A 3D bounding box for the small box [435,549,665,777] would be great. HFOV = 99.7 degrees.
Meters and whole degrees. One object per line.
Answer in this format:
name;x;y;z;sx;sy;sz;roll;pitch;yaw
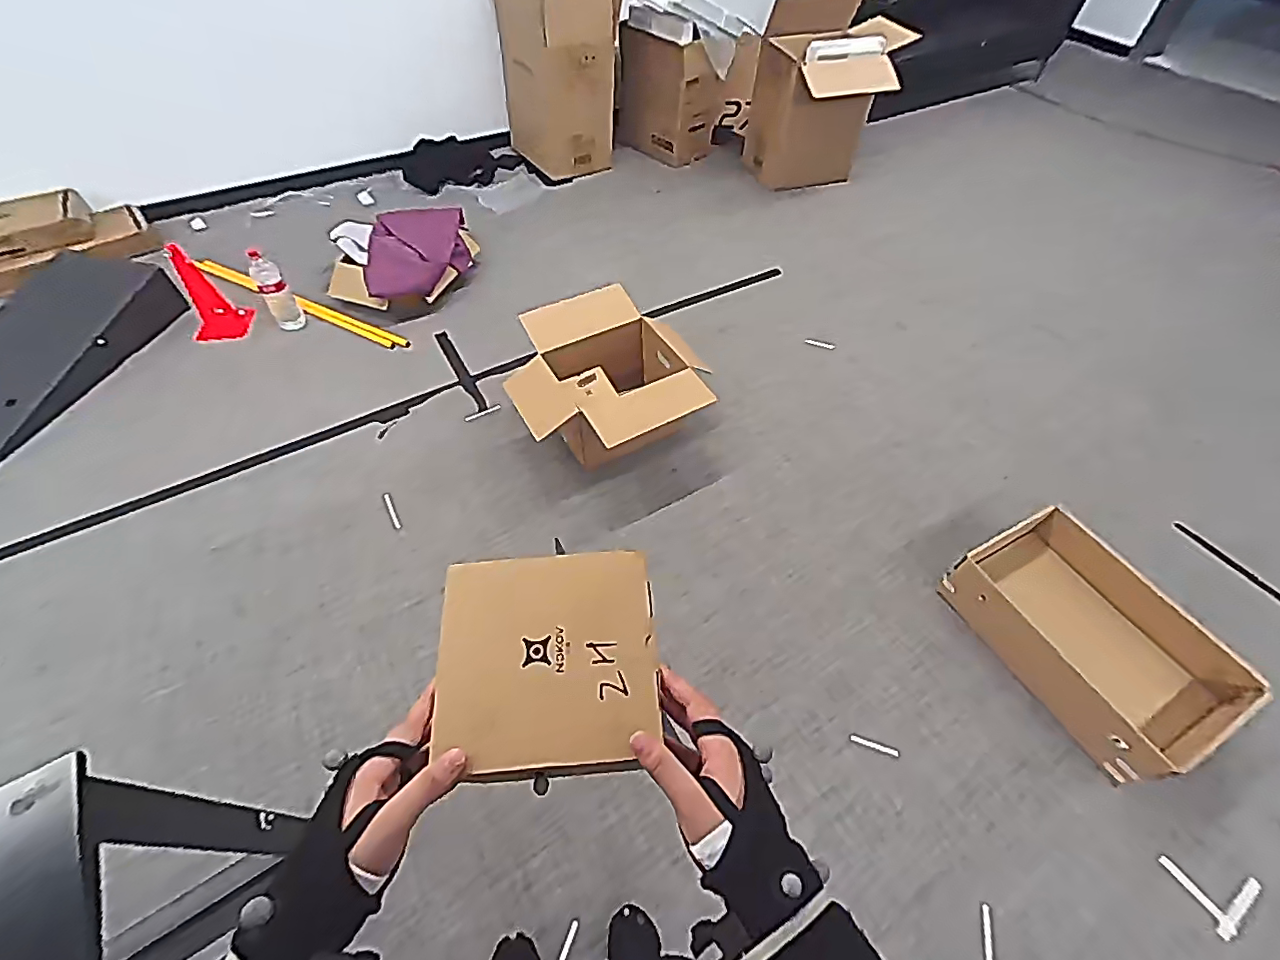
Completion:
small box;-0.071;0.179;0.511;0.179;0.176;0.168;-5;60;-2
